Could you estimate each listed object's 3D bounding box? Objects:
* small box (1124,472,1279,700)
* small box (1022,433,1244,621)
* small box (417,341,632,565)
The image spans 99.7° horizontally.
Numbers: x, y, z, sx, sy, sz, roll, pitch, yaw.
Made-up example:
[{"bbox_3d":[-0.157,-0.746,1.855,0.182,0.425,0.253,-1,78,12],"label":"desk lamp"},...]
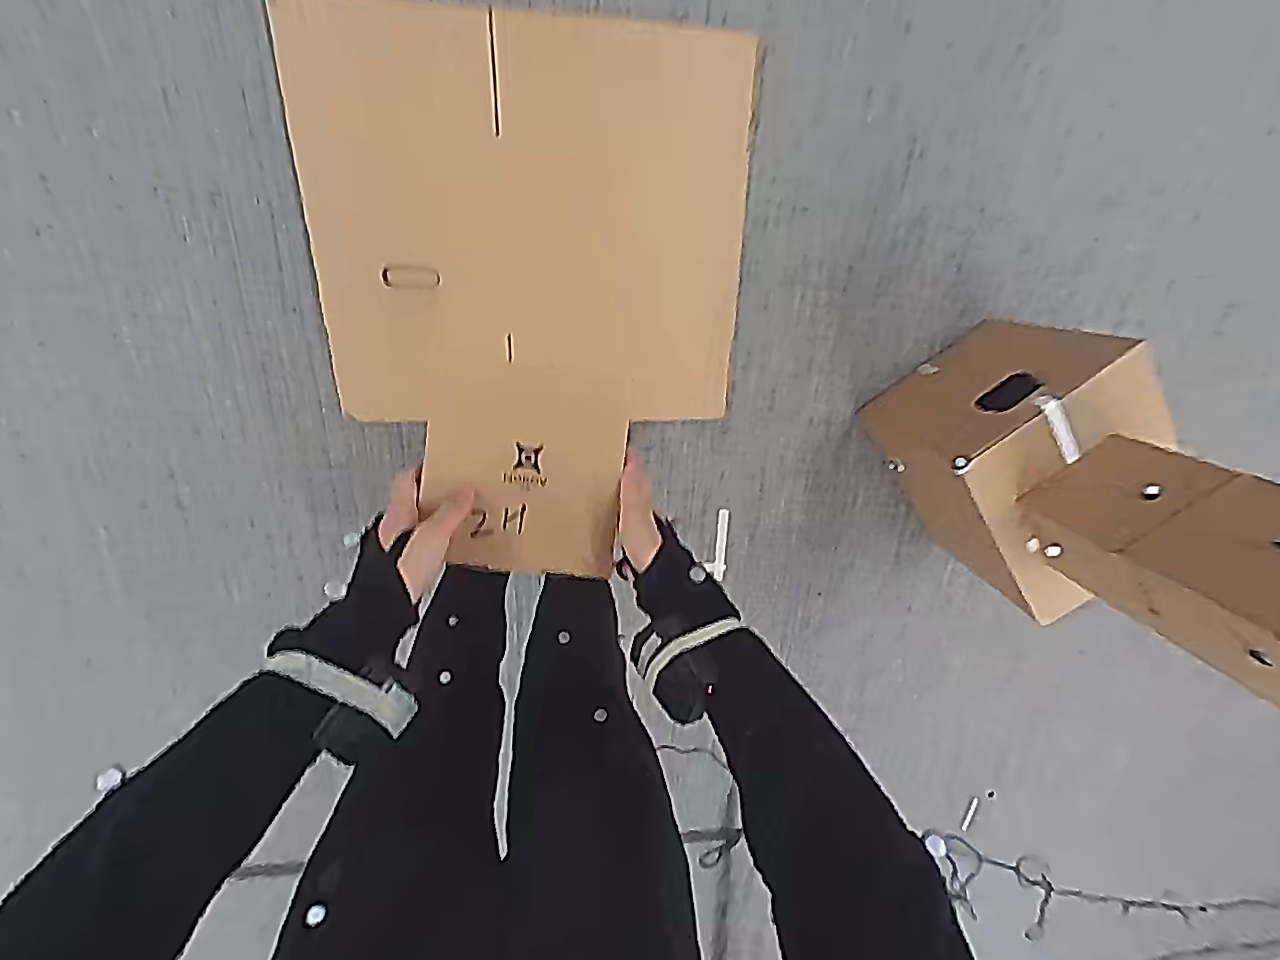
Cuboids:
[{"bbox_3d":[0.736,0.119,0.632,0.179,0.176,0.168,-38,112,7],"label":"small box"},{"bbox_3d":[0.711,0.059,0.782,0.179,0.176,0.168,-38,112,8],"label":"small box"},{"bbox_3d":[-0.108,-0.024,0.539,0.168,0.176,0.179,7,92,-8],"label":"small box"}]
